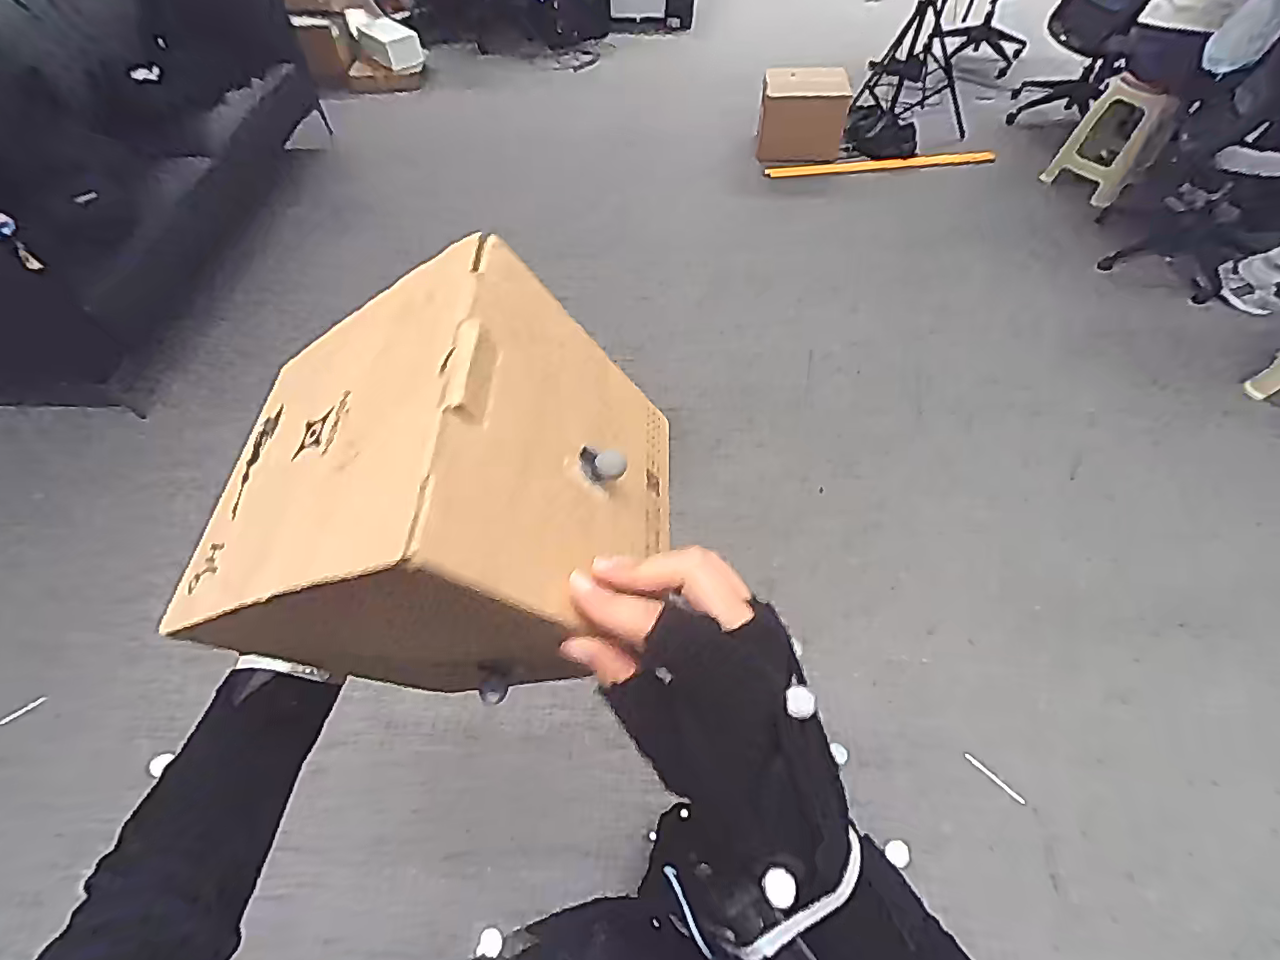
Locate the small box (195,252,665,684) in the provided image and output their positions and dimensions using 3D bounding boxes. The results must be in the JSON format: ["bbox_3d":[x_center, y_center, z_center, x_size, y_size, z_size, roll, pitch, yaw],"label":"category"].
[{"bbox_3d":[-0.094,0.014,0.319,0.179,0.176,0.168,-17,53,25],"label":"small box"}]
